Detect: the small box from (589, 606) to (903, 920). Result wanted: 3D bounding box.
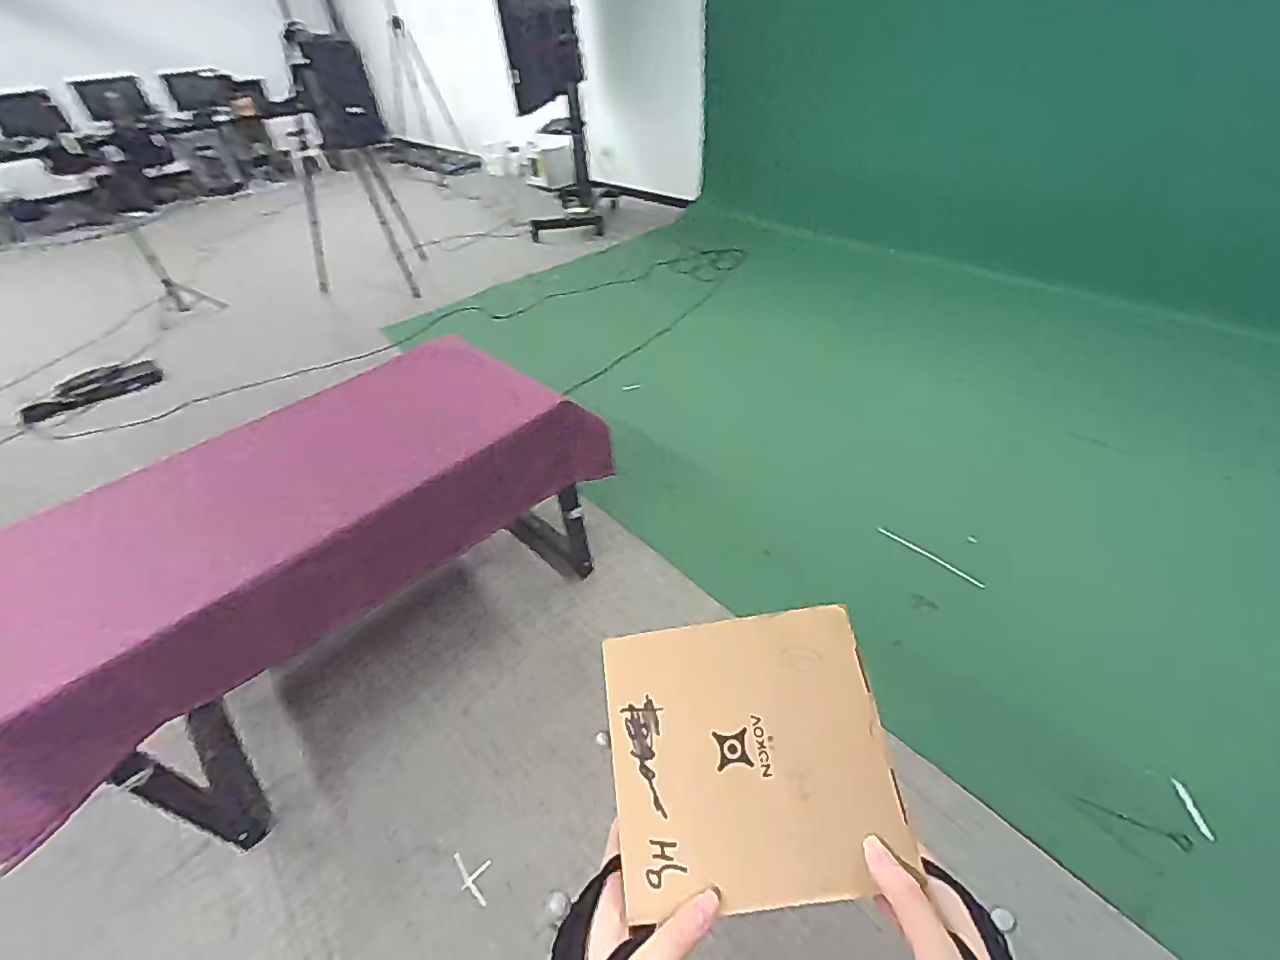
[{"bbox_3d":[0.065,0.208,0.419,0.179,0.176,0.168,-9,61,2],"label":"small box"}]
